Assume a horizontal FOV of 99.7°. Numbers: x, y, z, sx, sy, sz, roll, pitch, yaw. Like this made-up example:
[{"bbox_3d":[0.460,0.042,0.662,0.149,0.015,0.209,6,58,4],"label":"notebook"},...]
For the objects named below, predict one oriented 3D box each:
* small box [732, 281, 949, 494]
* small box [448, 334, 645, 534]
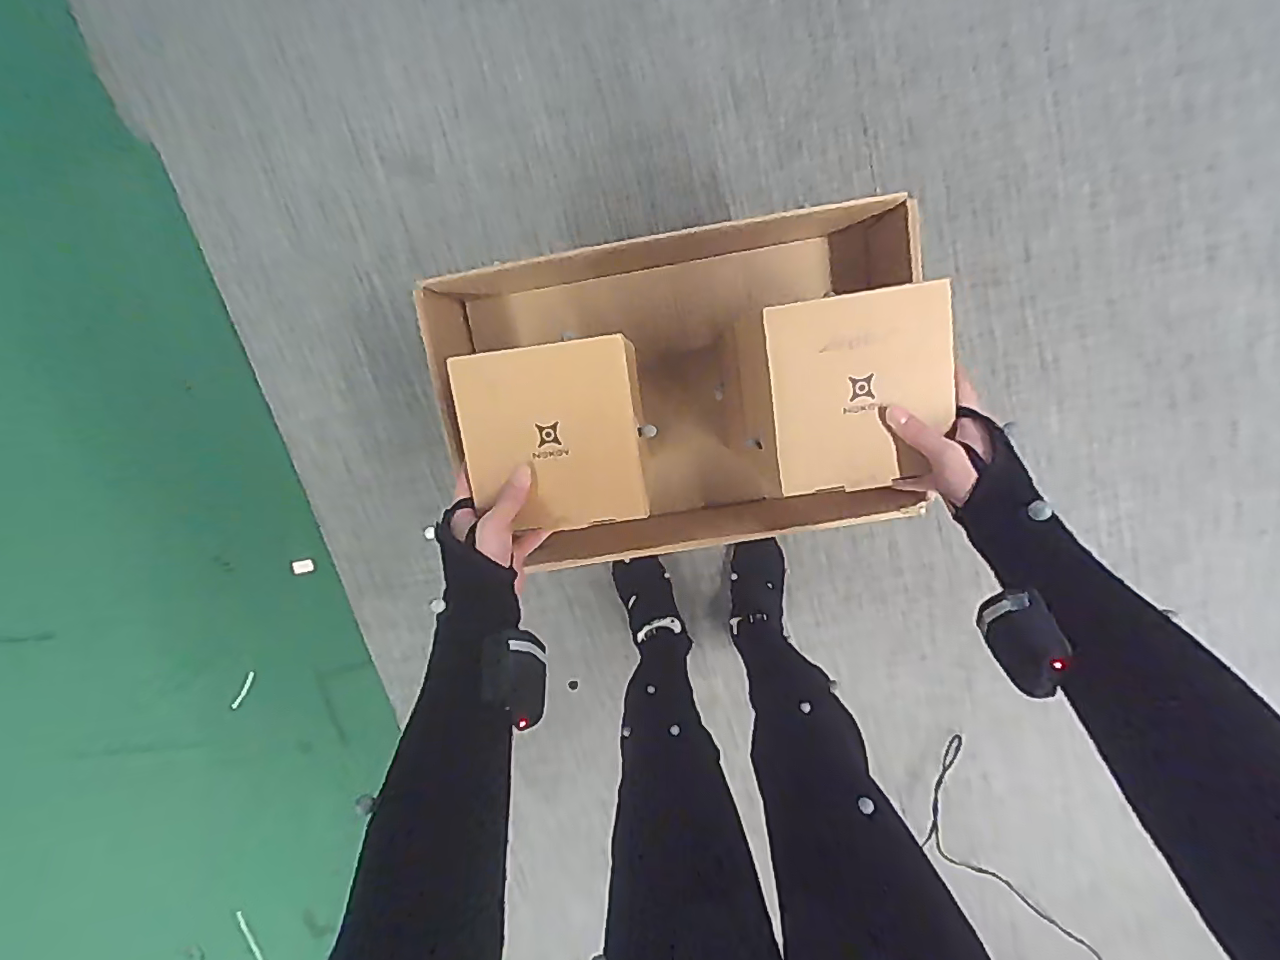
[{"bbox_3d":[0.196,-0.094,0.568,0.168,0.176,0.179,-8,99,2],"label":"small box"},{"bbox_3d":[-0.086,-0.054,0.591,0.168,0.176,0.179,-8,101,4],"label":"small box"}]
